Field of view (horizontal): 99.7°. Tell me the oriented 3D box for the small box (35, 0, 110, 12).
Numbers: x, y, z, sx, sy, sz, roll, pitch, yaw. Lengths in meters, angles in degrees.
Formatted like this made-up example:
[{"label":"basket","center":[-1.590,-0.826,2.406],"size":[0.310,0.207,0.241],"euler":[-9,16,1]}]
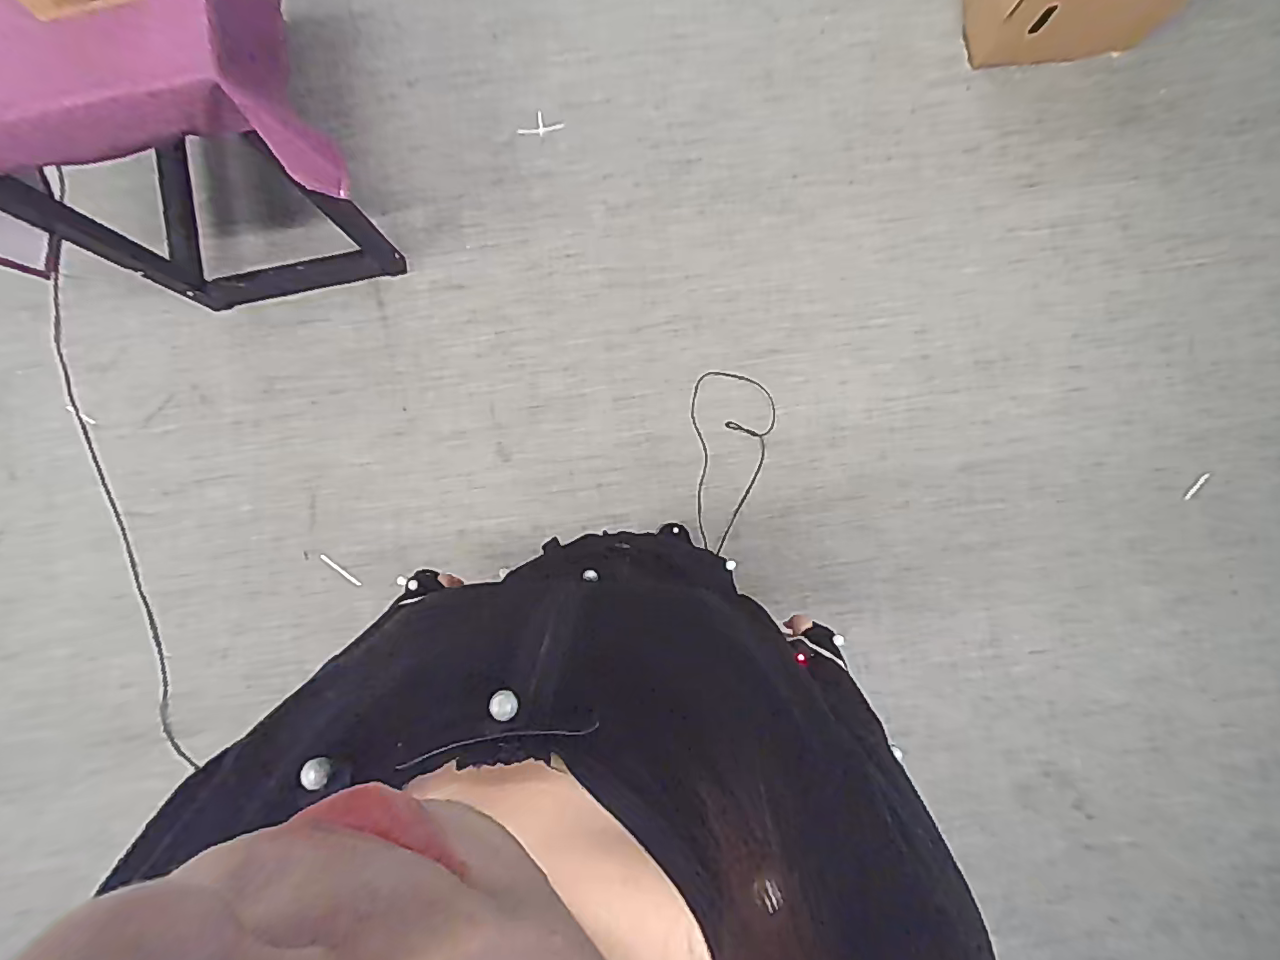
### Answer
[{"label":"small box","center":[-0.879,-0.836,0.773],"size":[0.168,0.176,0.179],"euler":[-13,87,0]}]
